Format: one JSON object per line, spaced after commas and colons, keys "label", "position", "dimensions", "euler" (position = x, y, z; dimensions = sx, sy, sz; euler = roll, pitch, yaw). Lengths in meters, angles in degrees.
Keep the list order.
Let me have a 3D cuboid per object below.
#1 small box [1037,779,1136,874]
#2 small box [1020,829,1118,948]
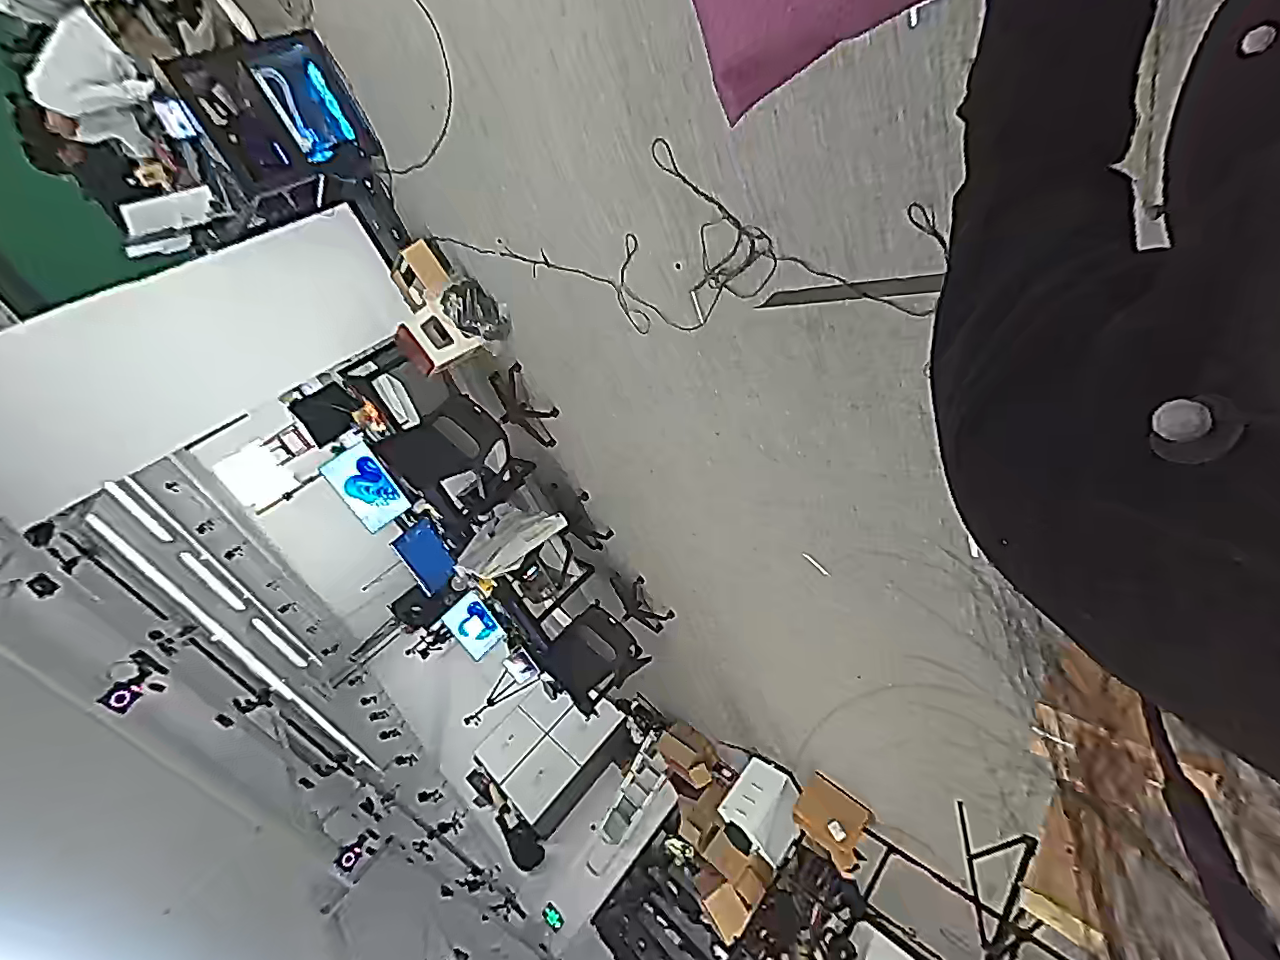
{"label": "small box", "position": [1.254, 0.982, 1.523], "dimensions": [0.179, 0.176, 0.168], "euler": [16, 140, 45]}
{"label": "small box", "position": [1.152, 1.092, 1.455], "dimensions": [0.168, 0.176, 0.179], "euler": [18, 142, 44]}
